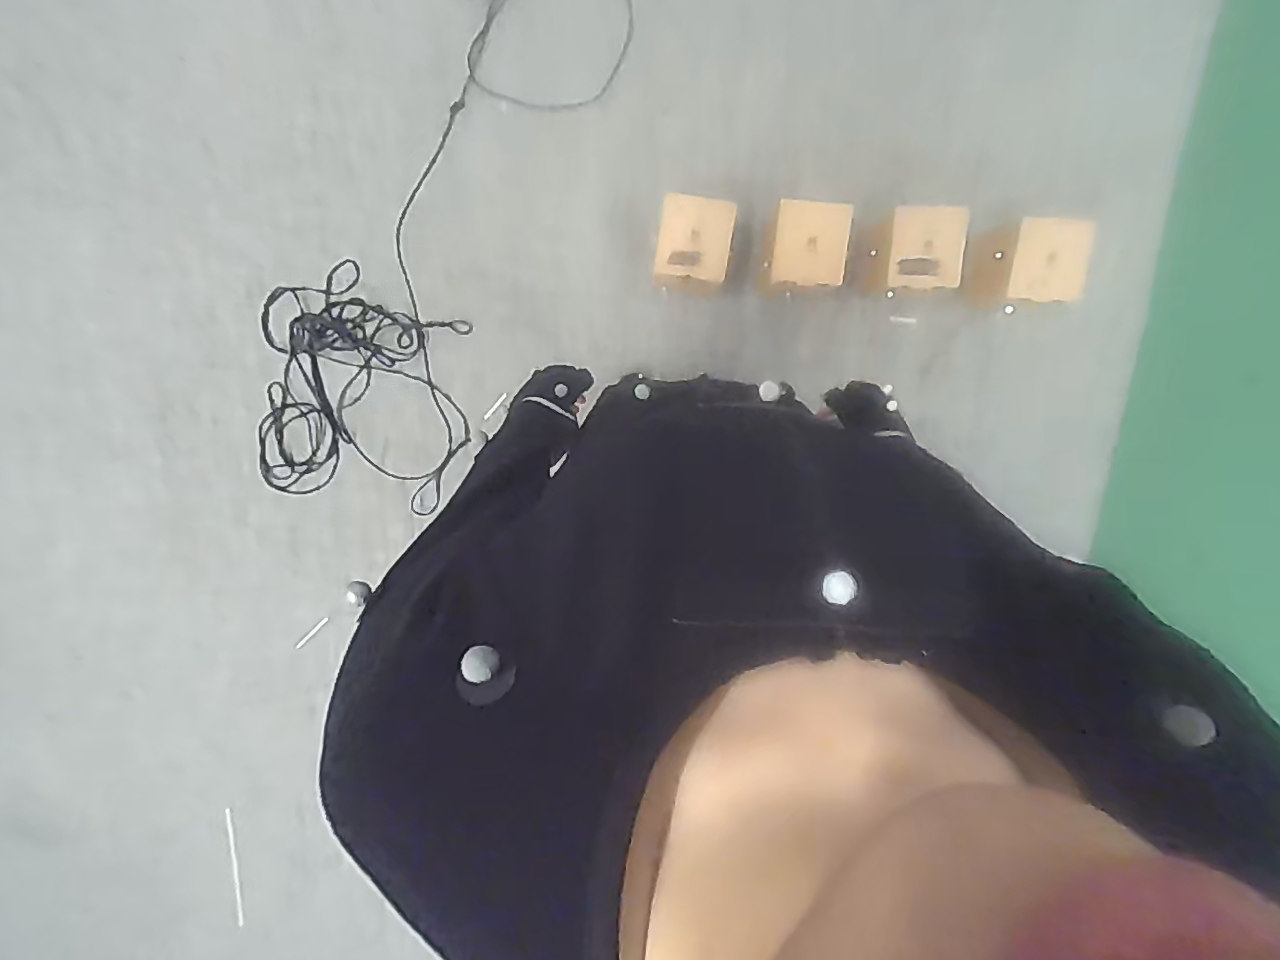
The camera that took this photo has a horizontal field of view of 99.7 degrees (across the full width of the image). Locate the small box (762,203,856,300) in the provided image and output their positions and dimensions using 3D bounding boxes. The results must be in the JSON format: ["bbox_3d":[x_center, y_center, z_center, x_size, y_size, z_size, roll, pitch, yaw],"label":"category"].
[{"bbox_3d":[0.397,-0.541,1.299,0.168,0.176,0.179,5,101,1],"label":"small box"}]

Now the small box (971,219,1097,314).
[{"bbox_3d":[0.925,-0.502,1.290,0.168,0.176,0.179,5,101,1],"label":"small box"}]

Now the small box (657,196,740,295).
[{"bbox_3d":[0.136,-0.554,1.304,0.168,0.176,0.179,9,101,0],"label":"small box"}]
